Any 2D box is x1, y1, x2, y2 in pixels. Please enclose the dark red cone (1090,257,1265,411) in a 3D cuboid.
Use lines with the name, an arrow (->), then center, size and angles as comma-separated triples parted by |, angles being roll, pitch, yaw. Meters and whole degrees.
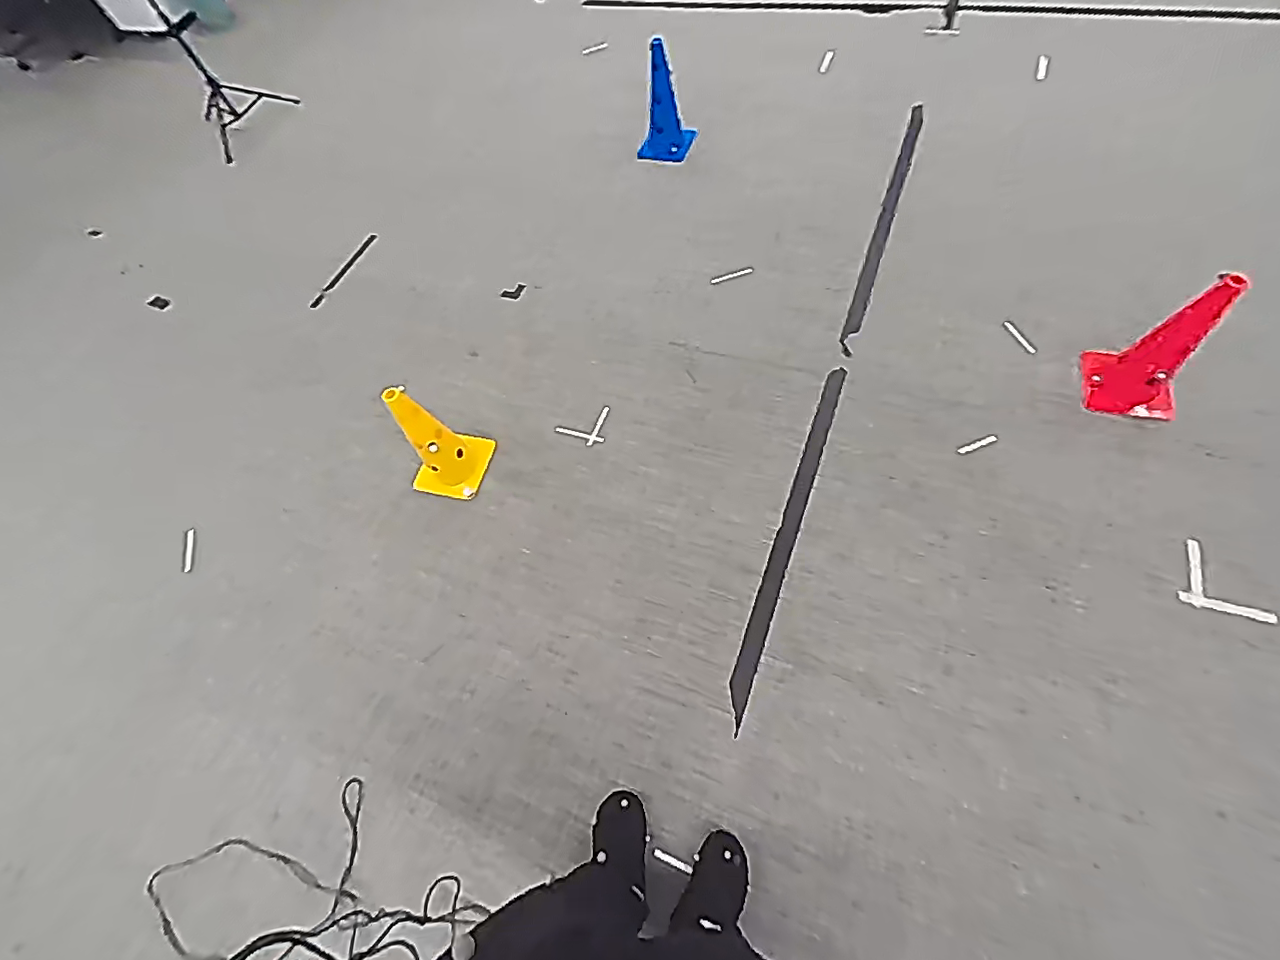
dark red cone -> 1.248, -0.344, 1.240 | 0.201, 0.394, 0.202 | 9, 65, 14

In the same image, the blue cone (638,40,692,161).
blue cone -> 0.076, -1.409, 2.009 | 0.192, 0.380, 0.193 | 17, 67, 18
